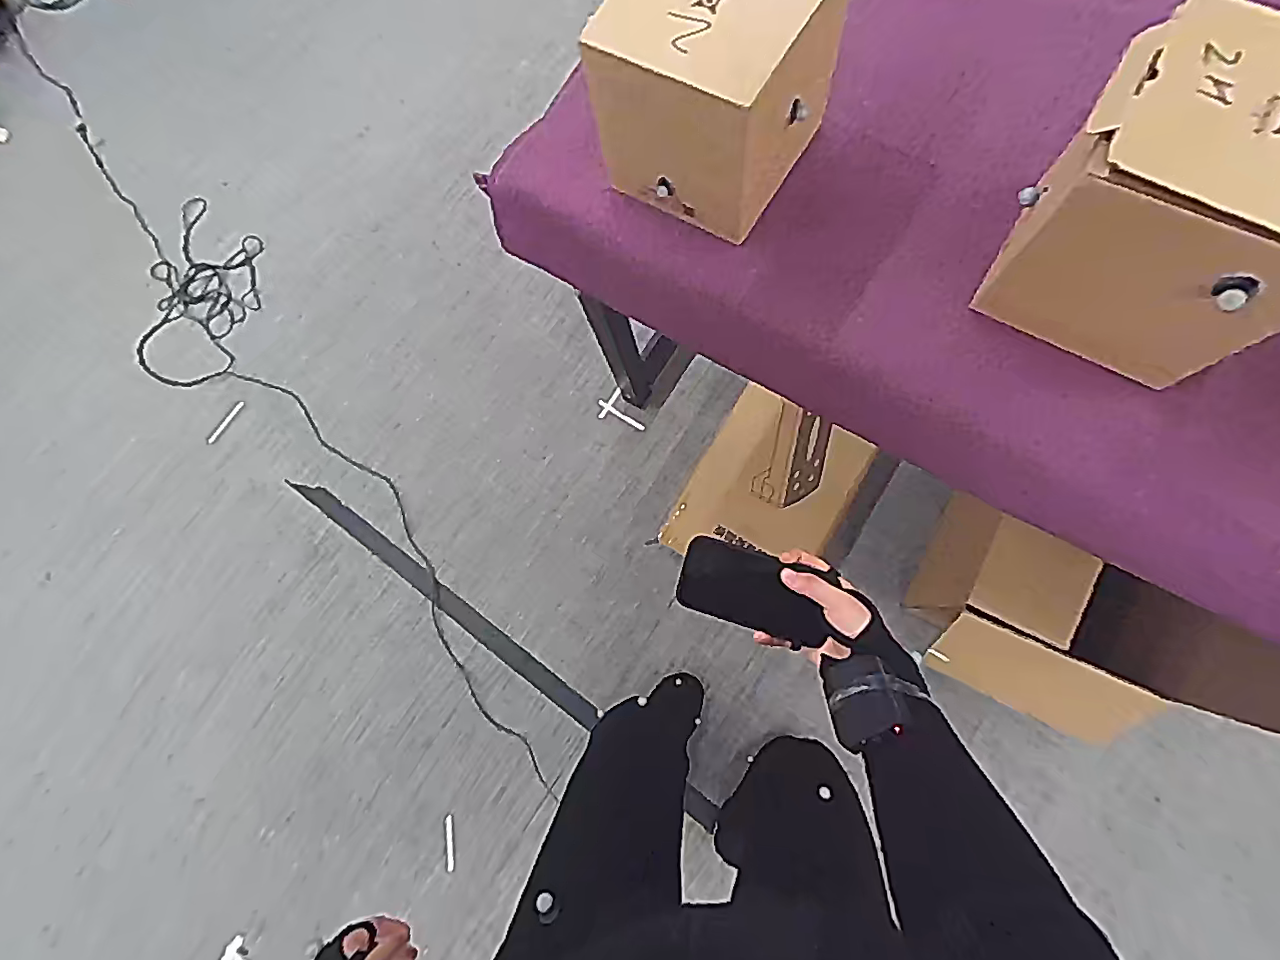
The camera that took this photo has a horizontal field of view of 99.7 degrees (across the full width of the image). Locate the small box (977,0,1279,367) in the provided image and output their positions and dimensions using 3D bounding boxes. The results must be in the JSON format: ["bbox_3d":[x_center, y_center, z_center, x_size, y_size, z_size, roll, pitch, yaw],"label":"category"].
[{"bbox_3d":[0.420,-0.214,0.427,0.179,0.176,0.168,30,81,13],"label":"small box"}]
